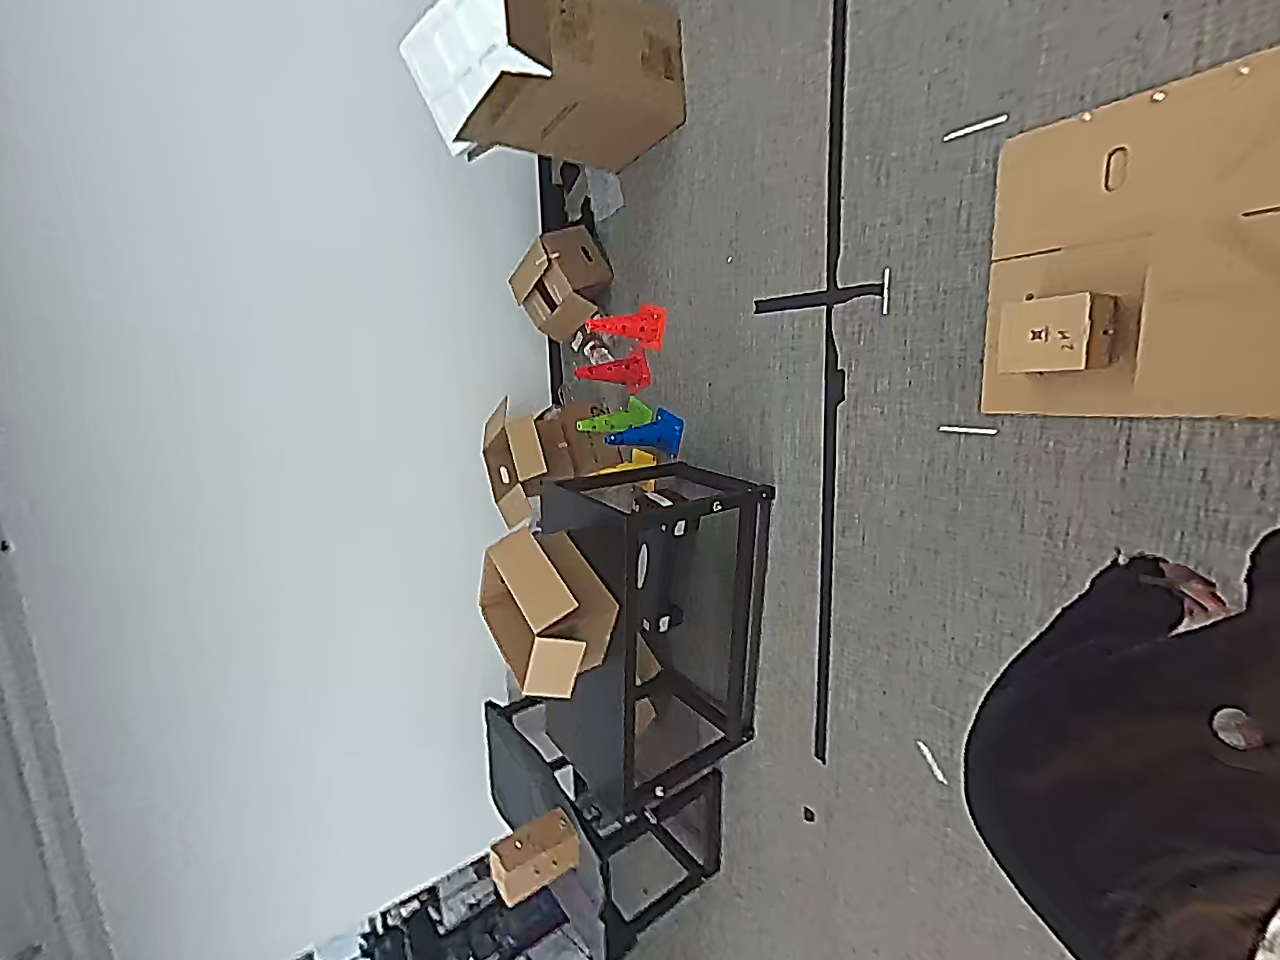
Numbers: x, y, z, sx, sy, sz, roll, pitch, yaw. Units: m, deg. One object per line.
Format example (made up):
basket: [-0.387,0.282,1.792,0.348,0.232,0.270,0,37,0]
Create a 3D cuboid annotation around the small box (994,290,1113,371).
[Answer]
small box: [0.968,-0.344,1.269,0.179,0.176,0.168,10,107,52]
